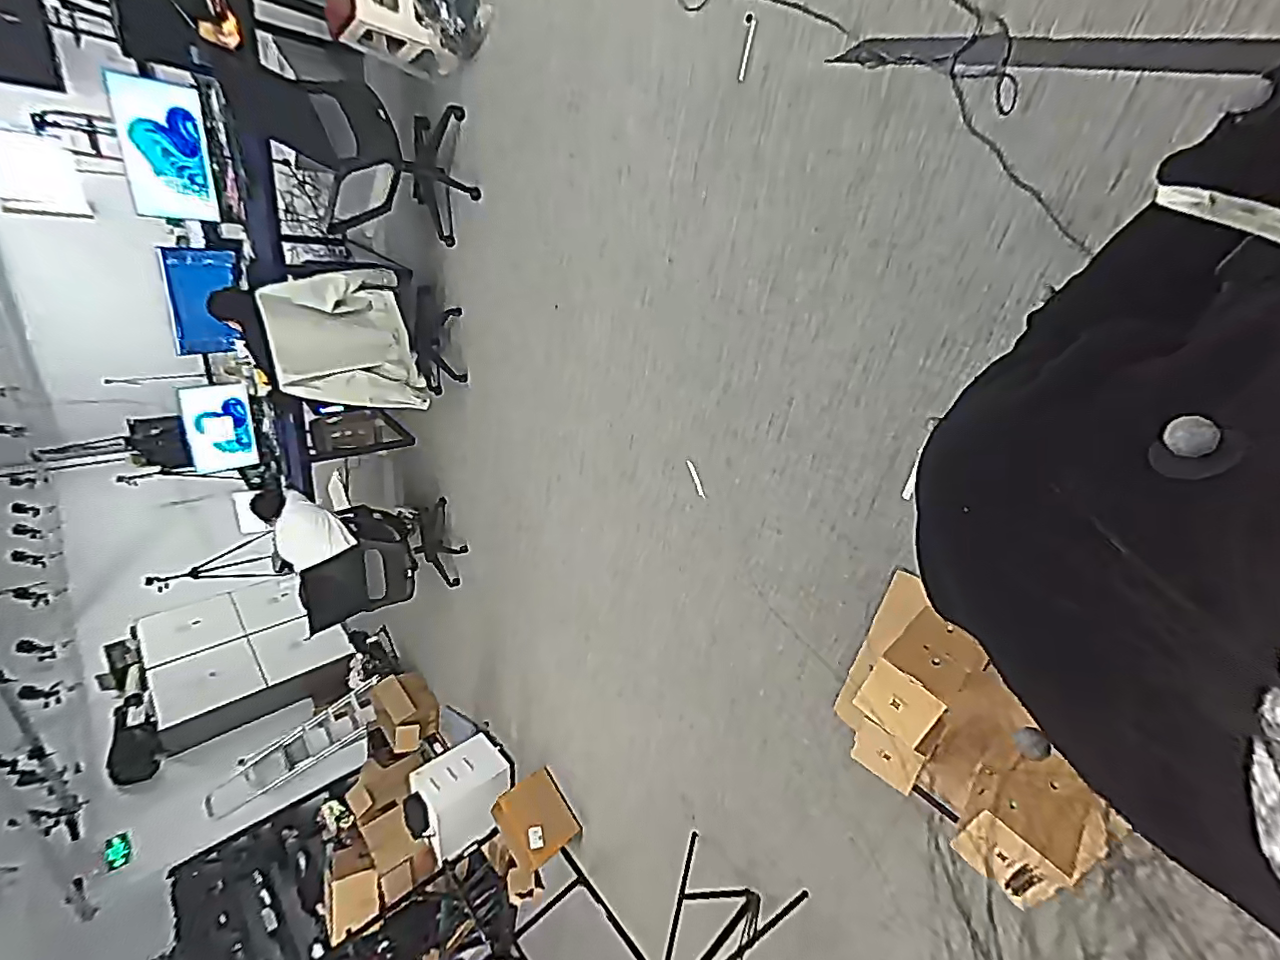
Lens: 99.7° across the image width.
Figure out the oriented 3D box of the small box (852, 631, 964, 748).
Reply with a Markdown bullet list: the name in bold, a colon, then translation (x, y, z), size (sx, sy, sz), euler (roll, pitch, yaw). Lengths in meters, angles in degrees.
- **small box**: translation (0.667, 0.513, 1.341), size (0.168, 0.176, 0.179), euler (36, 125, 34)

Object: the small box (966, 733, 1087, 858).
- **small box**: translation (0.968, 0.780, 1.350), size (0.179, 0.176, 0.168), euler (40, 128, 29)

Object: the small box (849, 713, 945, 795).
- **small box**: translation (0.750, 0.759, 1.578), size (0.179, 0.176, 0.168), euler (28, 123, 39)
